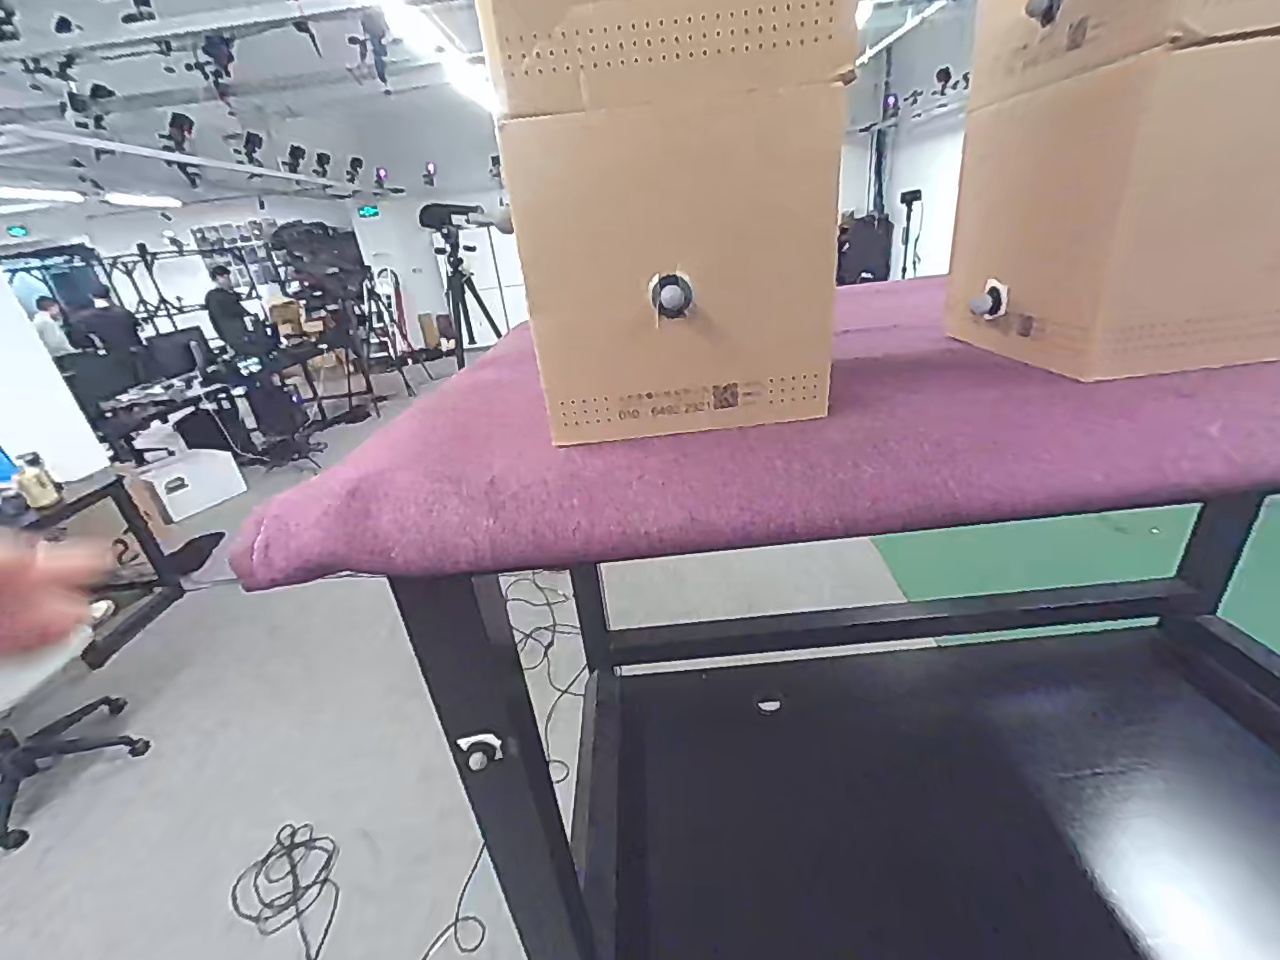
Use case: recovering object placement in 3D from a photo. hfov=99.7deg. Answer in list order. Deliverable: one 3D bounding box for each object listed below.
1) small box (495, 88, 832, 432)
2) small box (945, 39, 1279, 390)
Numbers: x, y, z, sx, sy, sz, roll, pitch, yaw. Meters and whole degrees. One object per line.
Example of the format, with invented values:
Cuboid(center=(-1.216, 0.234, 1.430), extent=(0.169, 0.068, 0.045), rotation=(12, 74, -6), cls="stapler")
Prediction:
Cuboid(center=(0.017, -0.135, 0.362), extent=(0.168, 0.176, 0.179), rotation=(-5, 25, 1), cls="small box")
Cuboid(center=(0.337, -0.169, 0.361), extent=(0.179, 0.176, 0.168), rotation=(-7, 25, 1), cls="small box")
